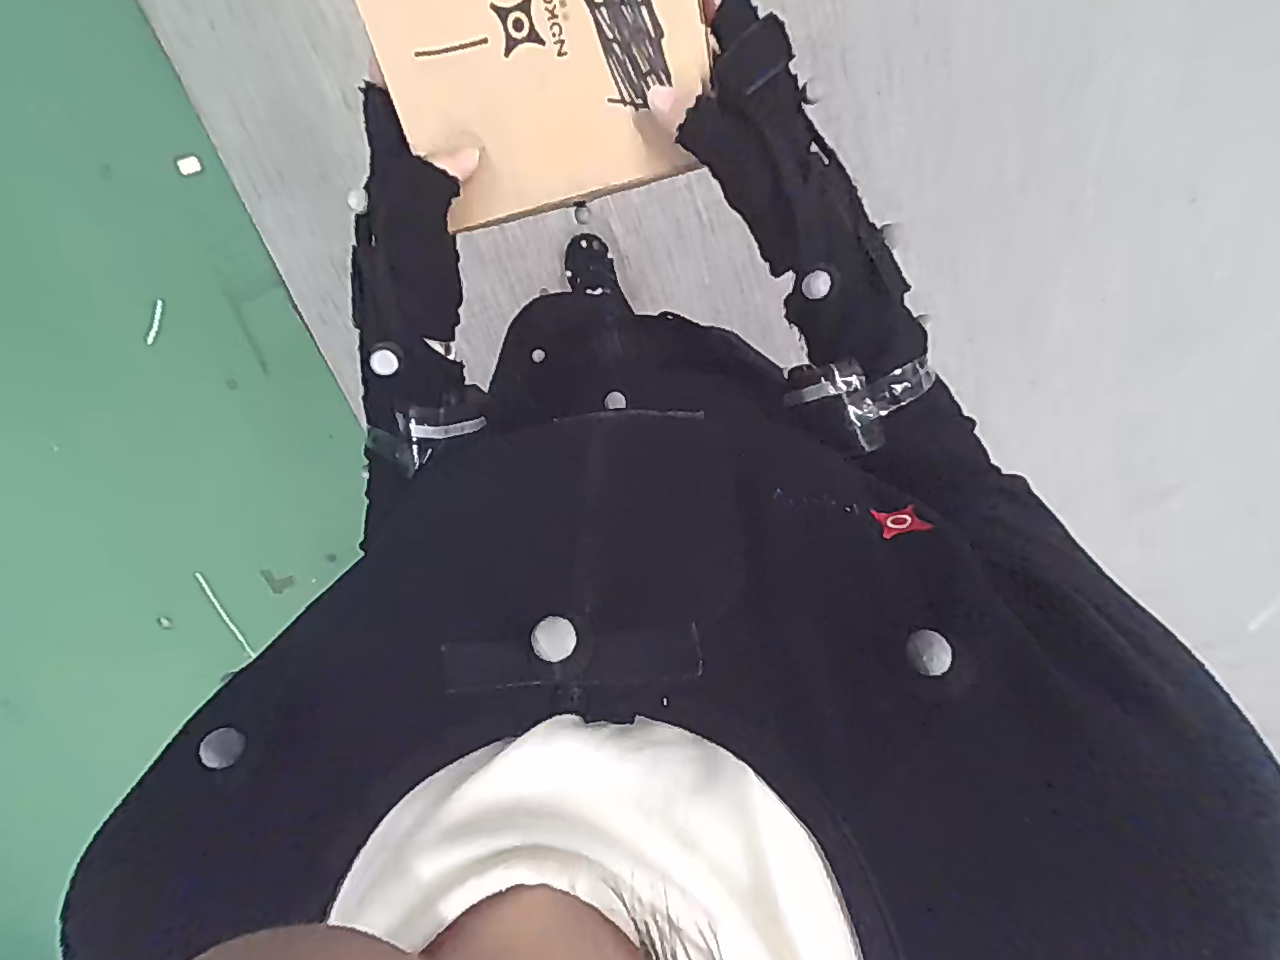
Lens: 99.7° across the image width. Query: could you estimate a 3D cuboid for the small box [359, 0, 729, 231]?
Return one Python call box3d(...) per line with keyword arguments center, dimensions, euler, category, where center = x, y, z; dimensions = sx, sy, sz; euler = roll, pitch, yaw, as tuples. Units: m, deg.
box3d(center=(-0.055, -0.280, 0.355), dimensions=(0.179, 0.176, 0.168), euler=(-15, 117, 7), category="small box")
